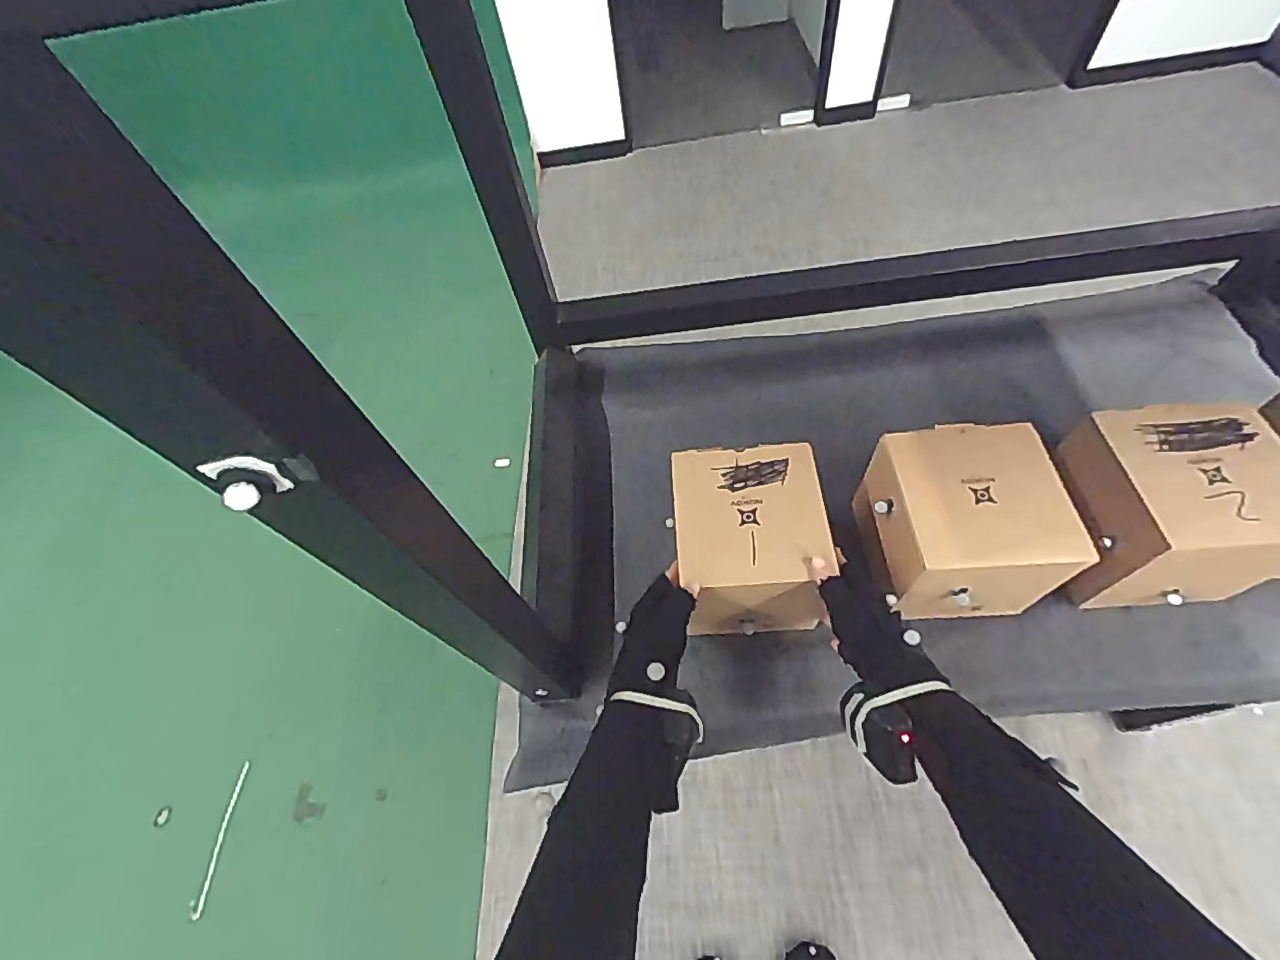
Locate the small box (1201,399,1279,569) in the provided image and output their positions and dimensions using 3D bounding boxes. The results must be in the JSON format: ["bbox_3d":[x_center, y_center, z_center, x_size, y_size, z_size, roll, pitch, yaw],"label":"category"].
[{"bbox_3d":[0.822,0.004,0.612,0.168,0.176,0.179,-3,56,6],"label":"small box"}]

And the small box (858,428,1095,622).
[{"bbox_3d":[0.375,0.063,0.646,0.168,0.176,0.179,-5,56,6],"label":"small box"}]

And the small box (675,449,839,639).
[{"bbox_3d":[0.131,0.083,0.667,0.168,0.176,0.179,-4,57,6],"label":"small box"}]
